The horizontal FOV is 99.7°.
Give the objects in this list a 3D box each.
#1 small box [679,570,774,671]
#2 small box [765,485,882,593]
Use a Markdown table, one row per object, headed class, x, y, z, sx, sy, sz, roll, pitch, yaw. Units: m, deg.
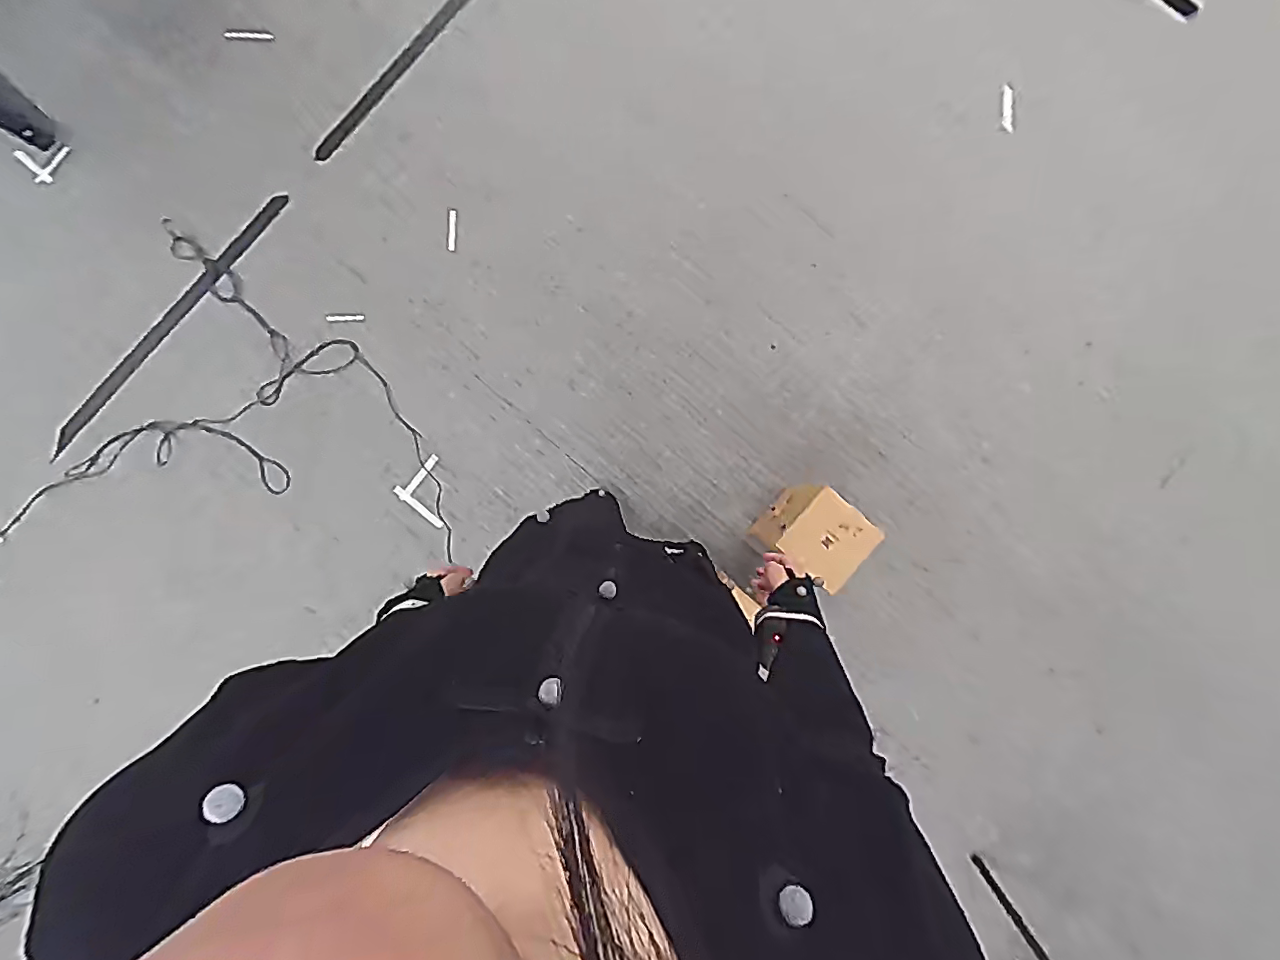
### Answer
| class | x | y | z | sx | sy | sz | roll | pitch | yaw |
| --- | --- | --- | --- | --- | --- | --- | --- | --- | --- |
| small box | 0.217 | 0.356 | 1.402 | 0.168 | 0.176 | 0.179 | 41 | 89 | 3 |
| small box | 0.405 | 0.130 | 1.235 | 0.168 | 0.176 | 0.179 | 42 | 90 | 2 |
